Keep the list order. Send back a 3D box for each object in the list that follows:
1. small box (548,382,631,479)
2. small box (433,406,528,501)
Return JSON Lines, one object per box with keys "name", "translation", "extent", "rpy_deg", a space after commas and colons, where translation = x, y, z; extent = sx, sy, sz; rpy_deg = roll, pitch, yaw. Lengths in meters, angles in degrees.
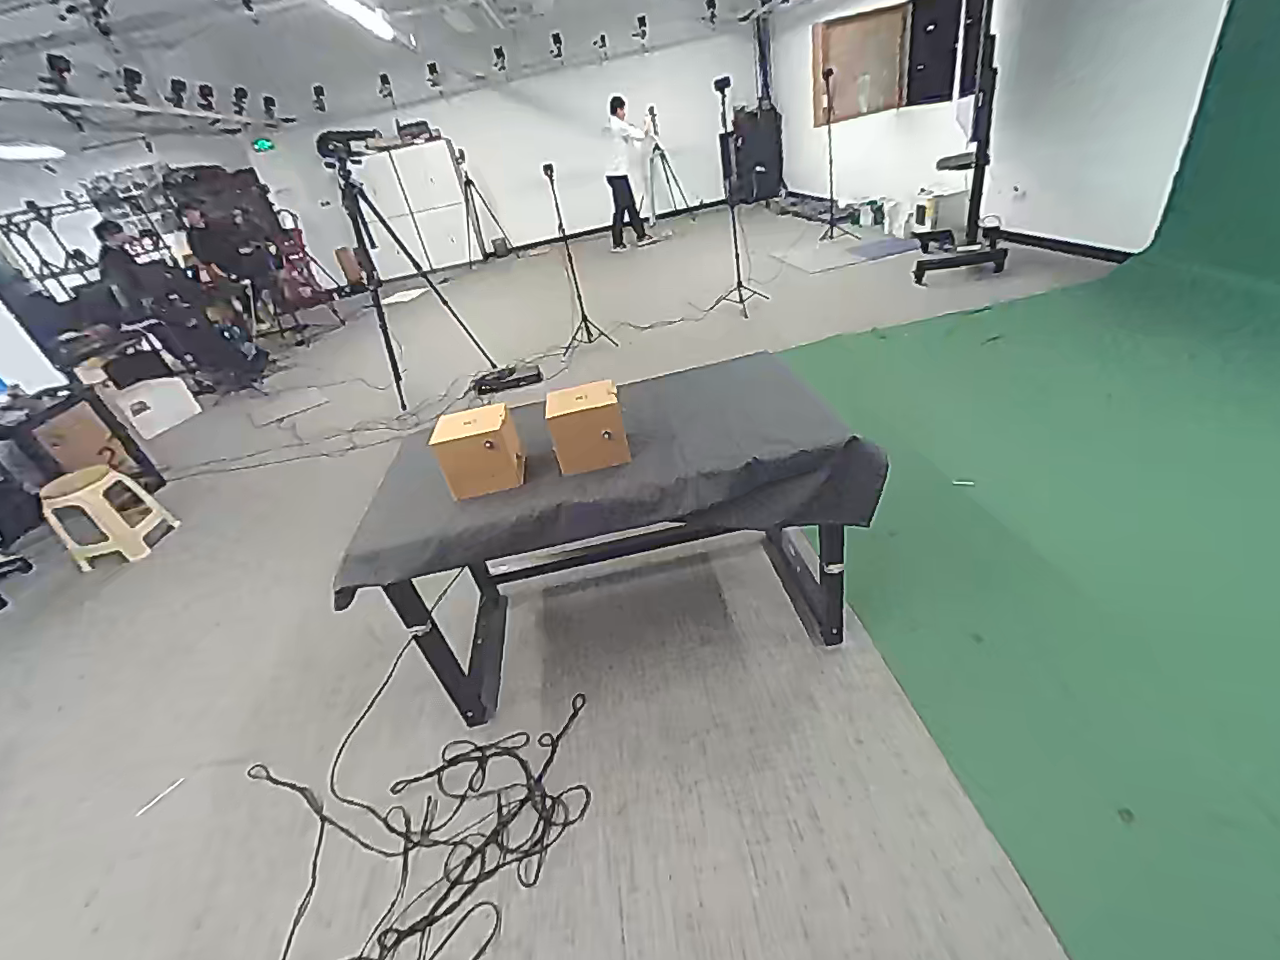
{"name": "small box", "translation": [-0.124, -0.126, 1.373], "extent": [0.179, 0.176, 0.168], "rpy_deg": [-14, 30, 0]}
{"name": "small box", "translation": [-0.398, -0.065, 1.377], "extent": [0.179, 0.176, 0.168], "rpy_deg": [-13, 31, -1]}
